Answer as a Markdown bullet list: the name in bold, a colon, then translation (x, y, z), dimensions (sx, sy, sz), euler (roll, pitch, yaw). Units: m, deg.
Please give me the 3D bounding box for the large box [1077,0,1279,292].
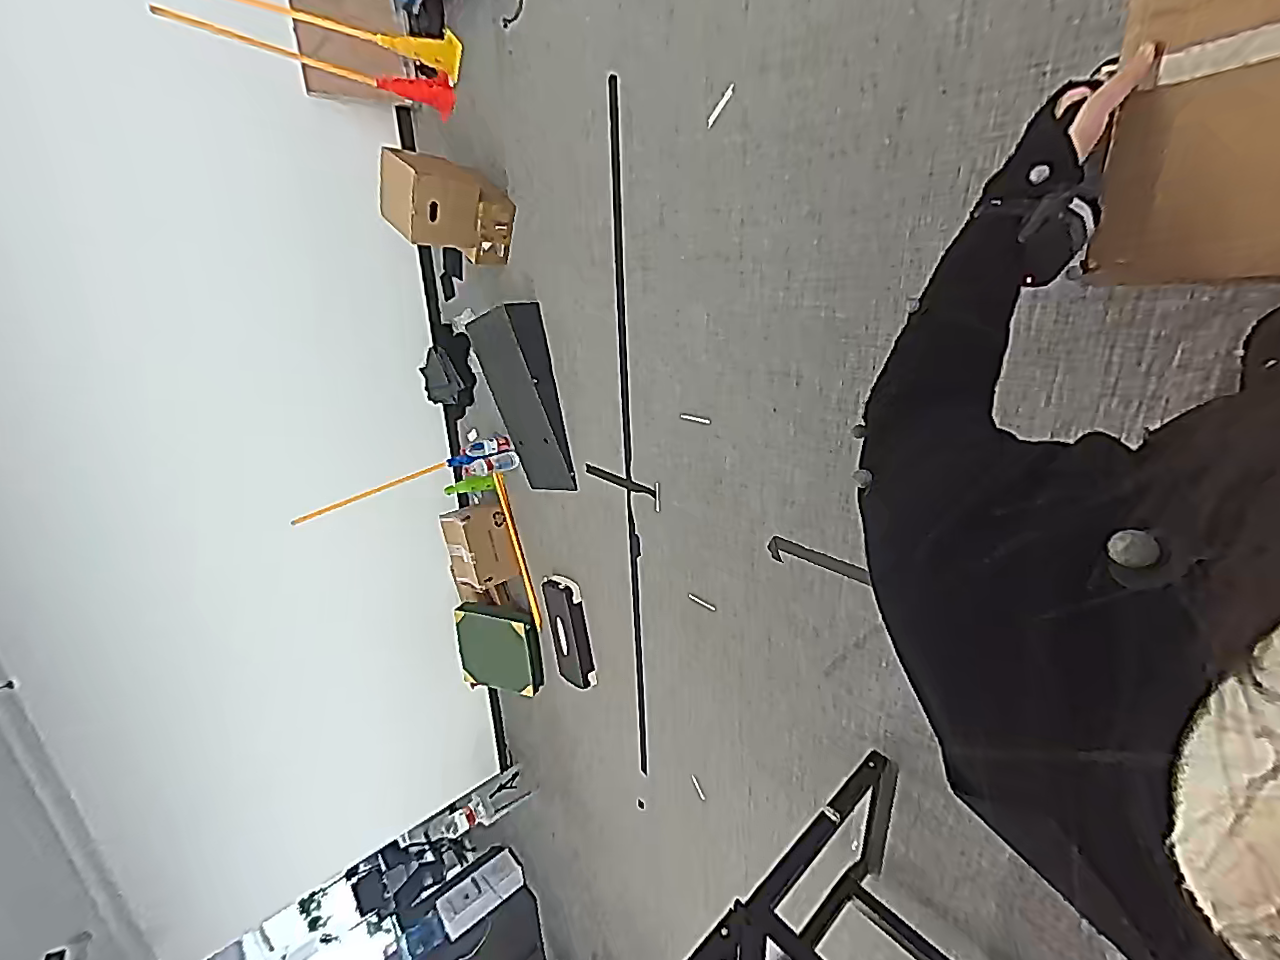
- **large box**: translation (0.624, -0.311, 0.387), dimensions (0.408, 0.320, 0.320), euler (16, 114, 46)
